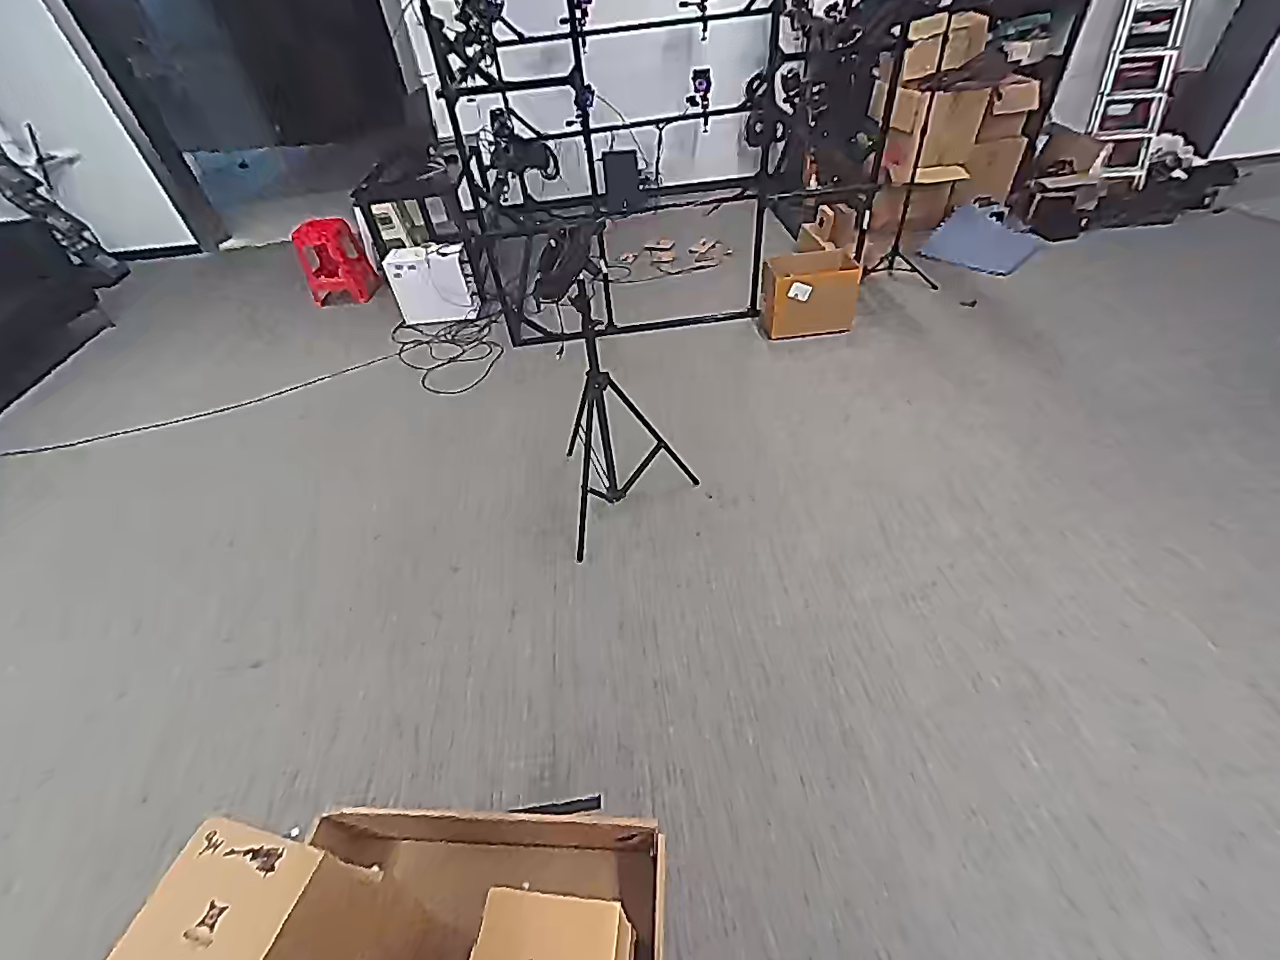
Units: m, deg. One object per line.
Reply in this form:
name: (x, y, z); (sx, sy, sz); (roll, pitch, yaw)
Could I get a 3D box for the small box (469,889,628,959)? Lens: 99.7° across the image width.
small box: (-0.114, 0.641, 0.679); (0.179, 0.176, 0.168); (0, 42, 8)

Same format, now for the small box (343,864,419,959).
small box: (-0.427, 0.632, 0.723); (0.168, 0.176, 0.179); (4, 43, 11)

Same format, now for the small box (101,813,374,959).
small box: (-0.439, 0.515, 0.607); (0.168, 0.176, 0.179); (7, 45, 14)
